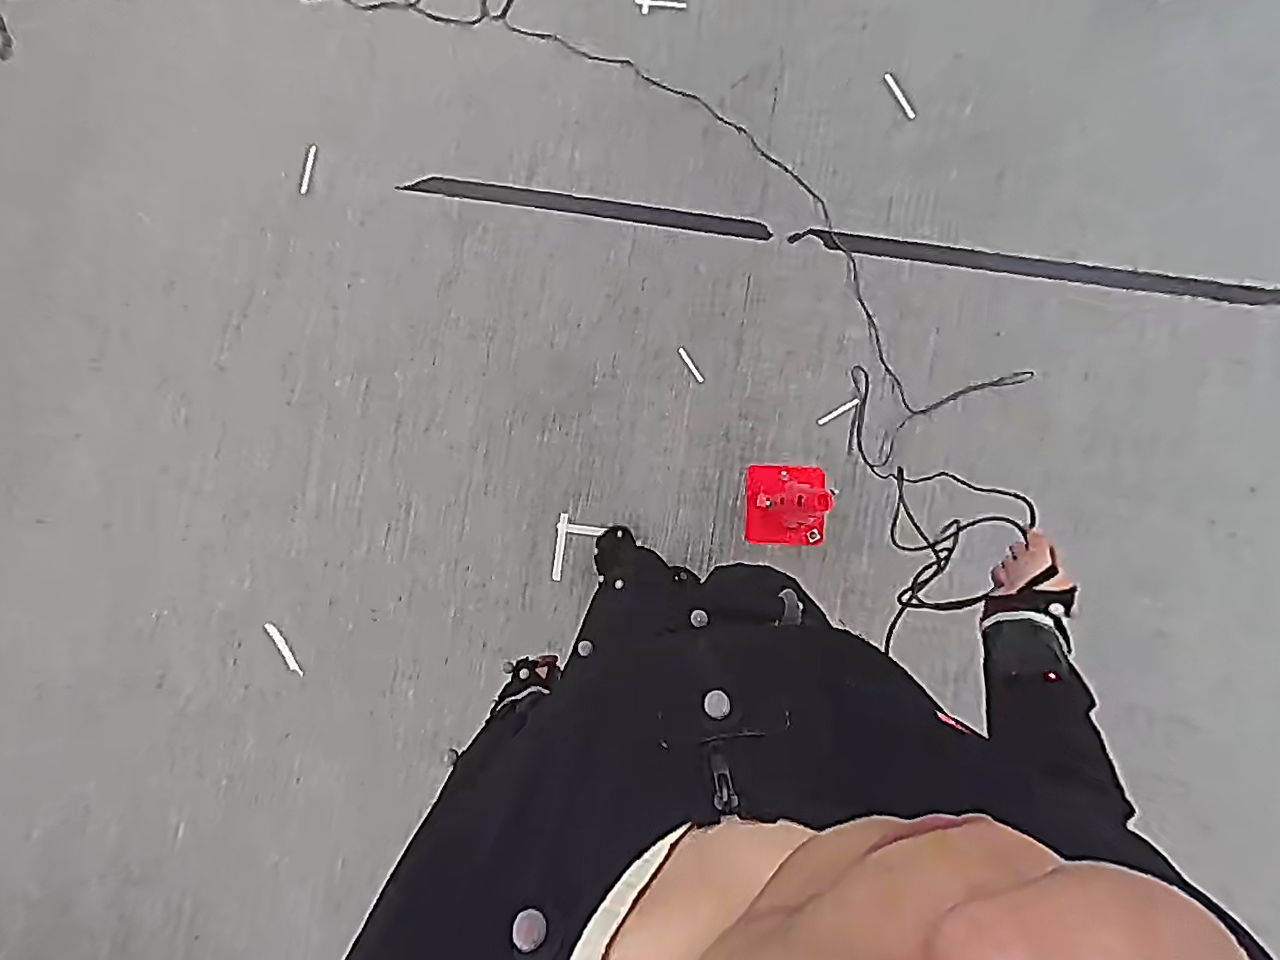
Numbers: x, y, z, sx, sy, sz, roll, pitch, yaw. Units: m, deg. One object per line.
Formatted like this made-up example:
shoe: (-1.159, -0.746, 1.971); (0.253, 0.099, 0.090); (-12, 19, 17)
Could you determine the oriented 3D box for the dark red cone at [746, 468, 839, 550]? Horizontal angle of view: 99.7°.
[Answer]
dark red cone: (0.352, 0.055, 1.157); (0.202, 0.394, 0.201); (1, 85, 4)
